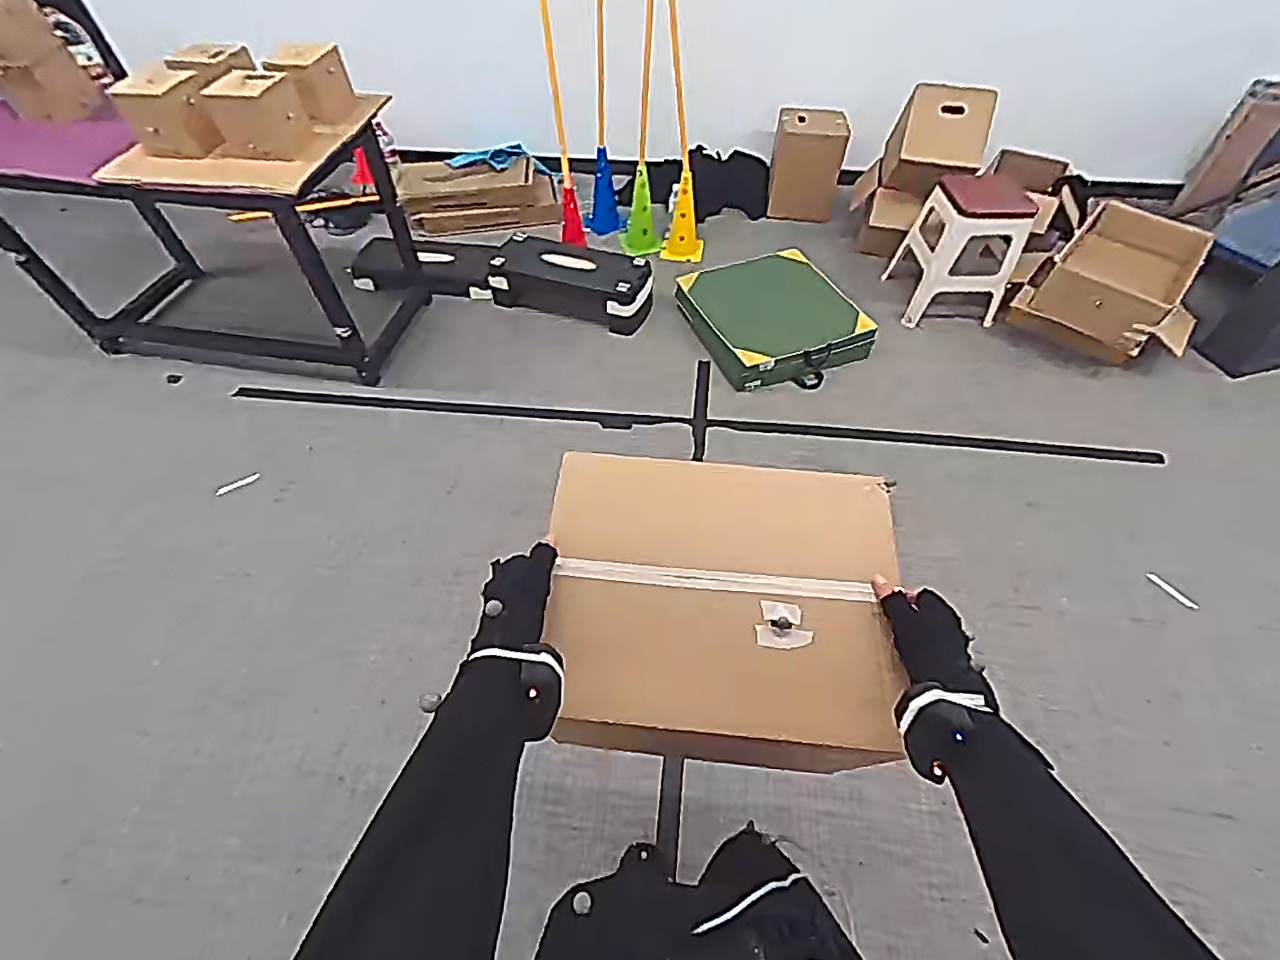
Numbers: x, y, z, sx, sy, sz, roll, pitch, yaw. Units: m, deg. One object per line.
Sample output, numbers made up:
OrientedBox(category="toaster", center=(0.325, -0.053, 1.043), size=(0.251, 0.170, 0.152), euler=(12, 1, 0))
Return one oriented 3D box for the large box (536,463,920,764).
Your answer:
OrientedBox(category="large box", center=(0.097, 0.199, 0.754), size=(0.408, 0.320, 0.320), euler=(5, 60, 2))
